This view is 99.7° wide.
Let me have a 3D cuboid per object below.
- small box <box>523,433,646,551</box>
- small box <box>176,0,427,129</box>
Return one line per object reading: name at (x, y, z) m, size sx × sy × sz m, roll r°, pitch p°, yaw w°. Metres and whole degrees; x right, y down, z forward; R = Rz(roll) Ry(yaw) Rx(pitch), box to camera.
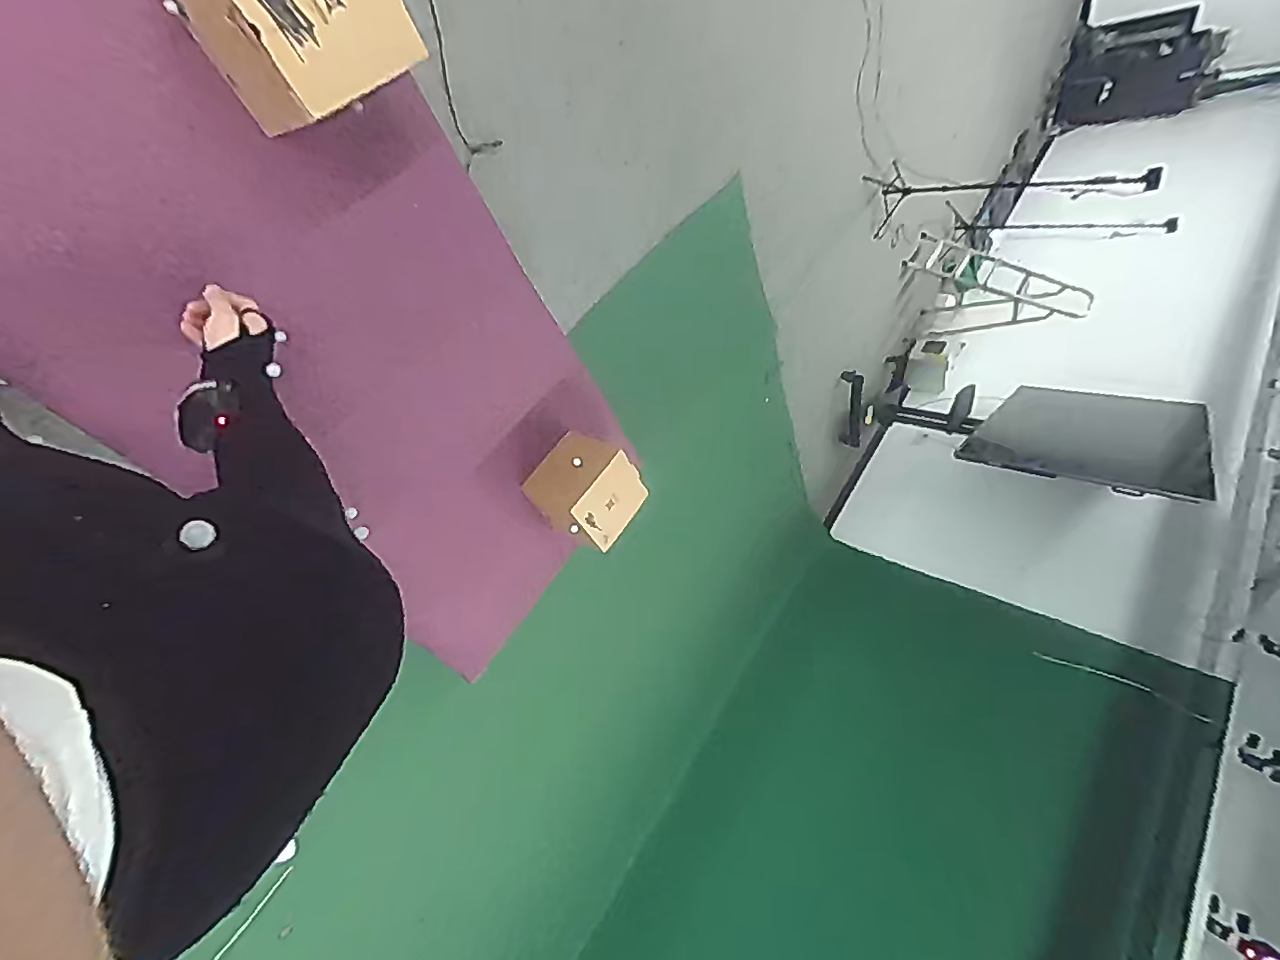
small box at (-0.122, 0.020, 1.191) m, size 0.179 × 0.176 × 0.168 m, roll -53°, pitch 138°, yaw -21°
small box at (-0.392, -0.531, 0.619) m, size 0.179 × 0.176 × 0.168 m, roll -50°, pitch 139°, yaw -22°
